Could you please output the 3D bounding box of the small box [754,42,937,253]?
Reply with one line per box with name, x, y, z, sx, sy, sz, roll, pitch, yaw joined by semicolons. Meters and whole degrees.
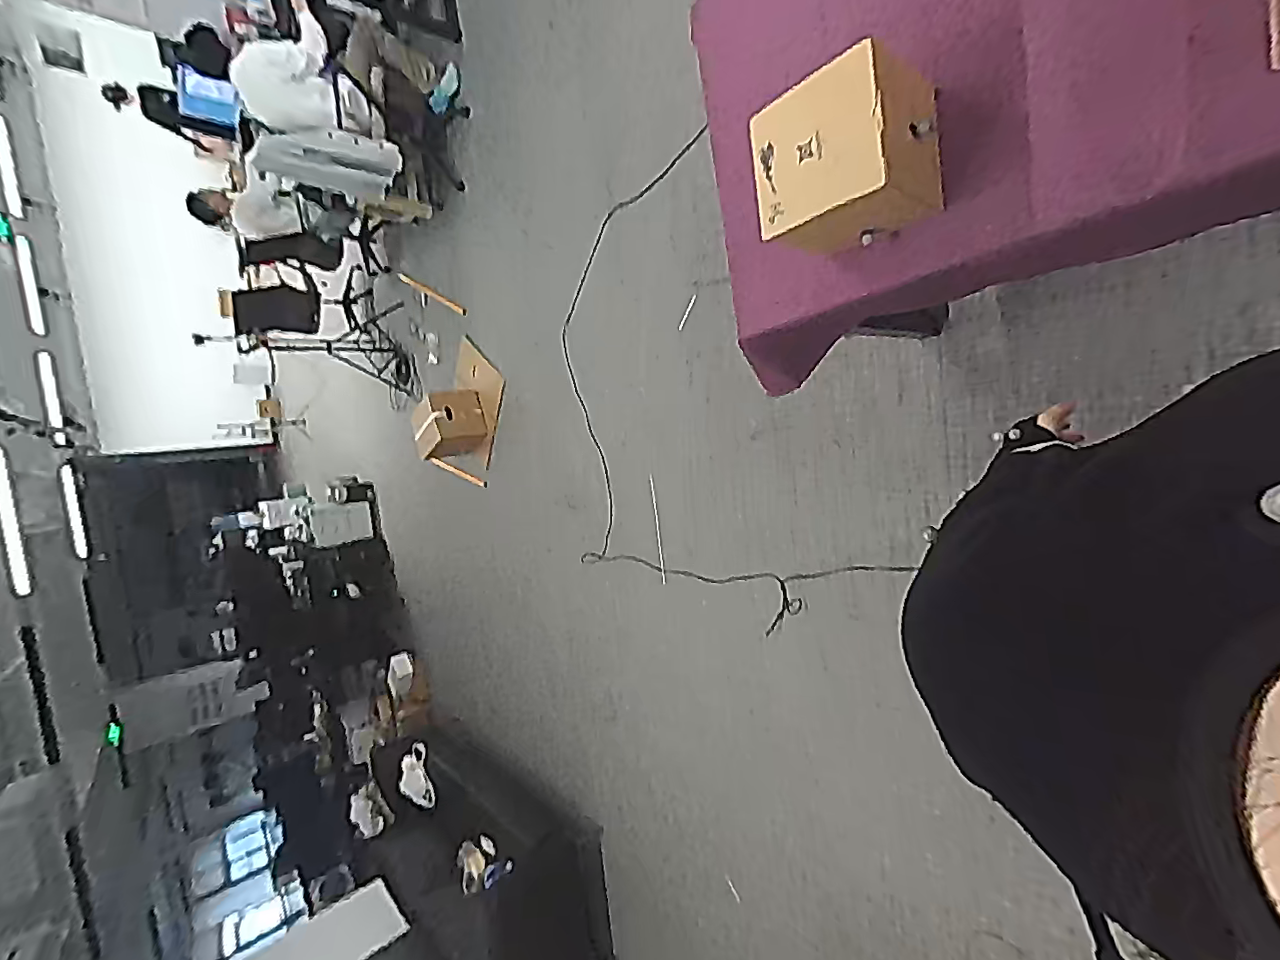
small box;0.282;-0.426;0.731;0.179;0.176;0.168;-3;95;50
